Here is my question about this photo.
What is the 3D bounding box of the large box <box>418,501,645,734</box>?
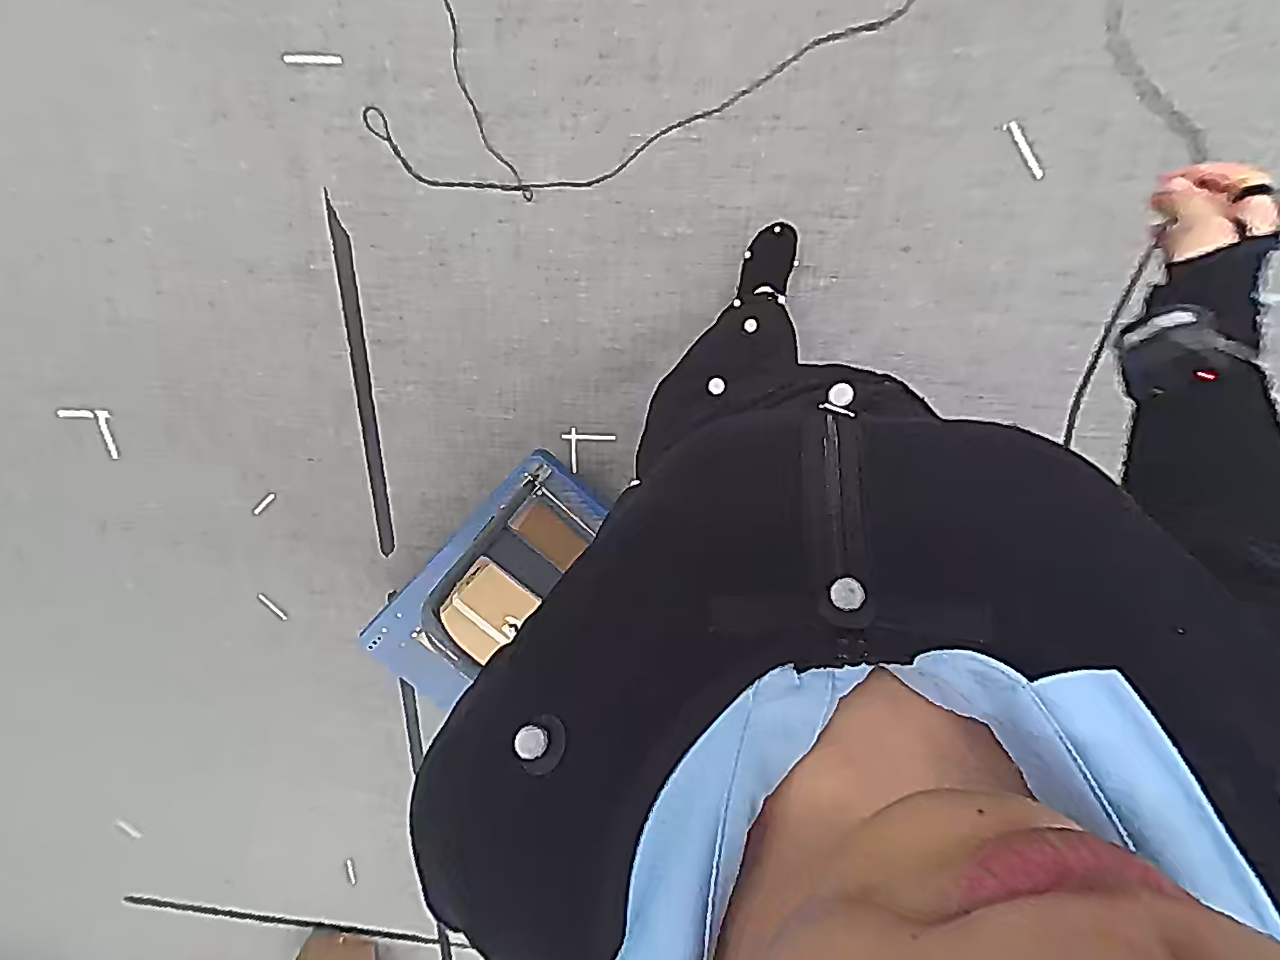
[{"bbox_3d":[-0.244,0.330,1.350,0.408,0.320,0.320,44,109,-10],"label":"large box"}]
